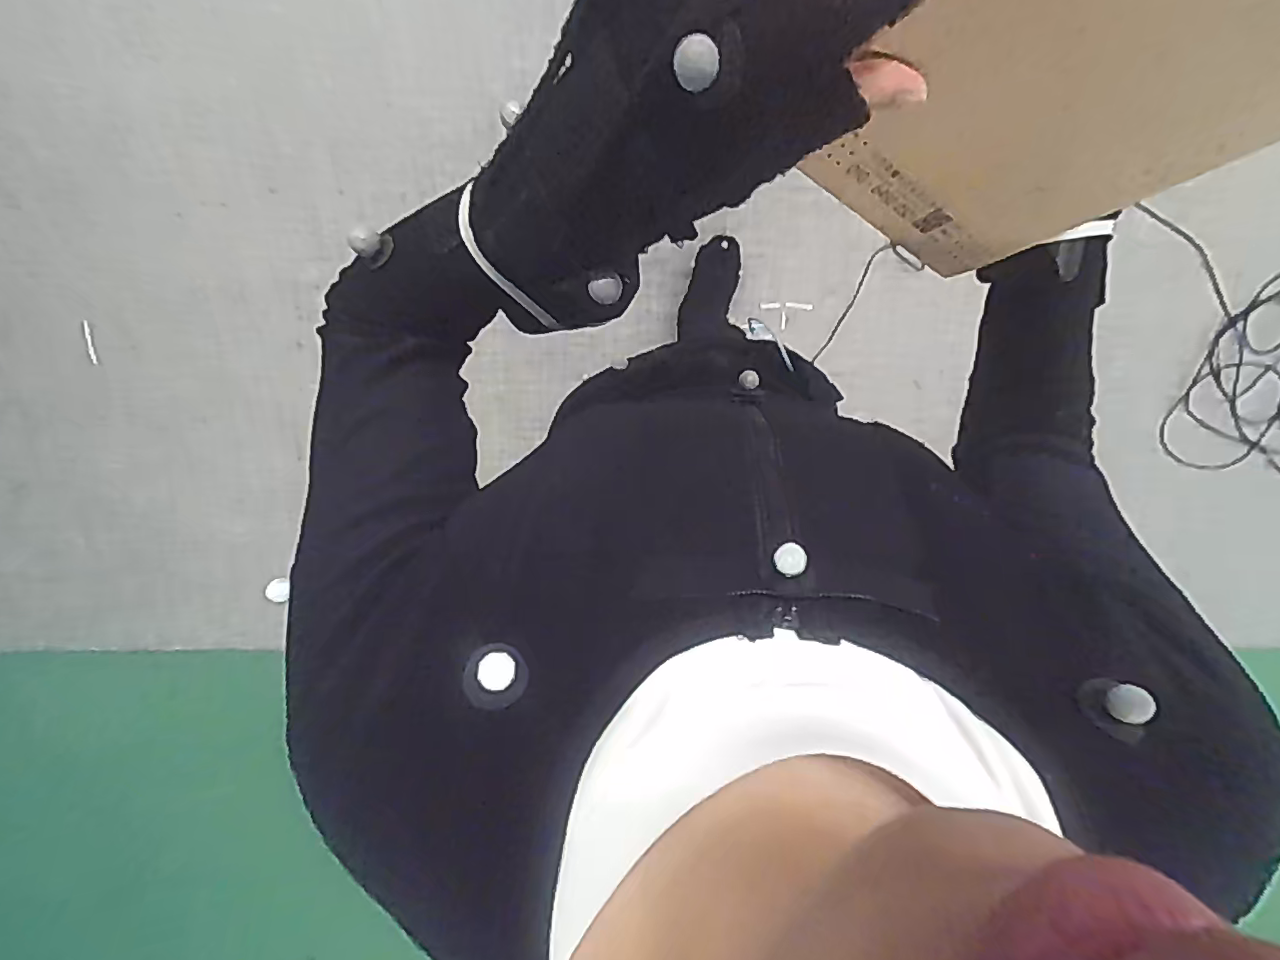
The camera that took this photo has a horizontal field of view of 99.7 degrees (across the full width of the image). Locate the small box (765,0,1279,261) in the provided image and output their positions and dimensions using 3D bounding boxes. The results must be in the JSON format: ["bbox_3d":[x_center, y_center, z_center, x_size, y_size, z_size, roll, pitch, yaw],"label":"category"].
[{"bbox_3d":[0.170,-0.235,0.236,0.168,0.176,0.179,11,75,-35],"label":"small box"}]
